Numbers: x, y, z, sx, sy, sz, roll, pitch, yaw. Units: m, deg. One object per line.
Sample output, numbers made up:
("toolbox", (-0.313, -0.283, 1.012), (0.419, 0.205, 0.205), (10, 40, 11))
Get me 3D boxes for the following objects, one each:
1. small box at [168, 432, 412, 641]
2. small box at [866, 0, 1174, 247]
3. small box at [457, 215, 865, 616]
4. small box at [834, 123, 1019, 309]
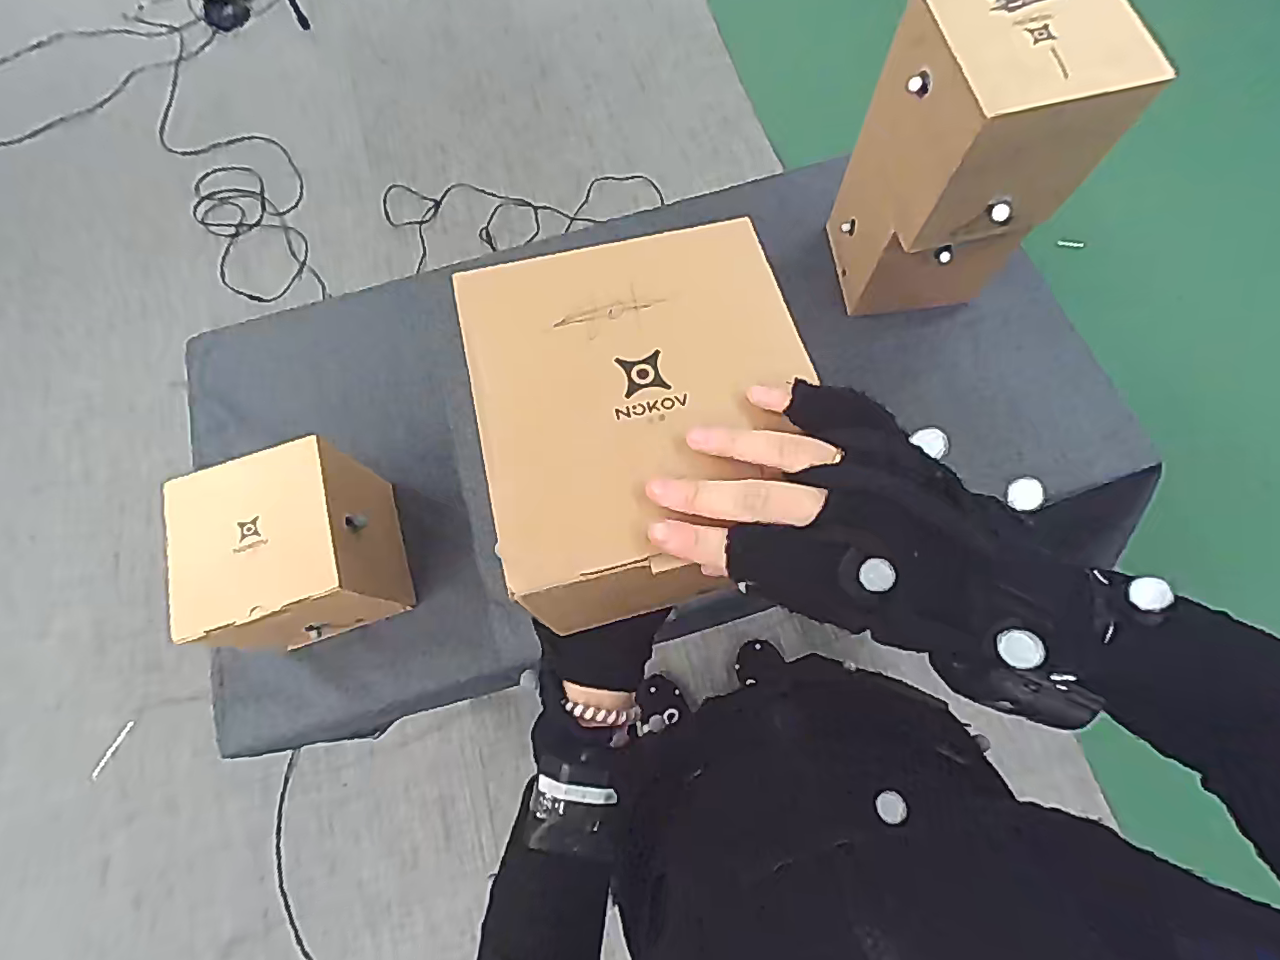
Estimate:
("small box", (-0.388, 0.075, 0.621), (0.168, 0.176, 0.179), (-19, 72, -4))
("small box", (0.356, -0.377, 0.553), (0.168, 0.176, 0.179), (-12, 73, 0))
("small box", (0.002, -0.021, 0.335), (0.168, 0.176, 0.179), (-13, 69, -6))
("small box", (0.370, -0.345, 0.715), (0.179, 0.176, 0.168), (-5, 73, 1))
